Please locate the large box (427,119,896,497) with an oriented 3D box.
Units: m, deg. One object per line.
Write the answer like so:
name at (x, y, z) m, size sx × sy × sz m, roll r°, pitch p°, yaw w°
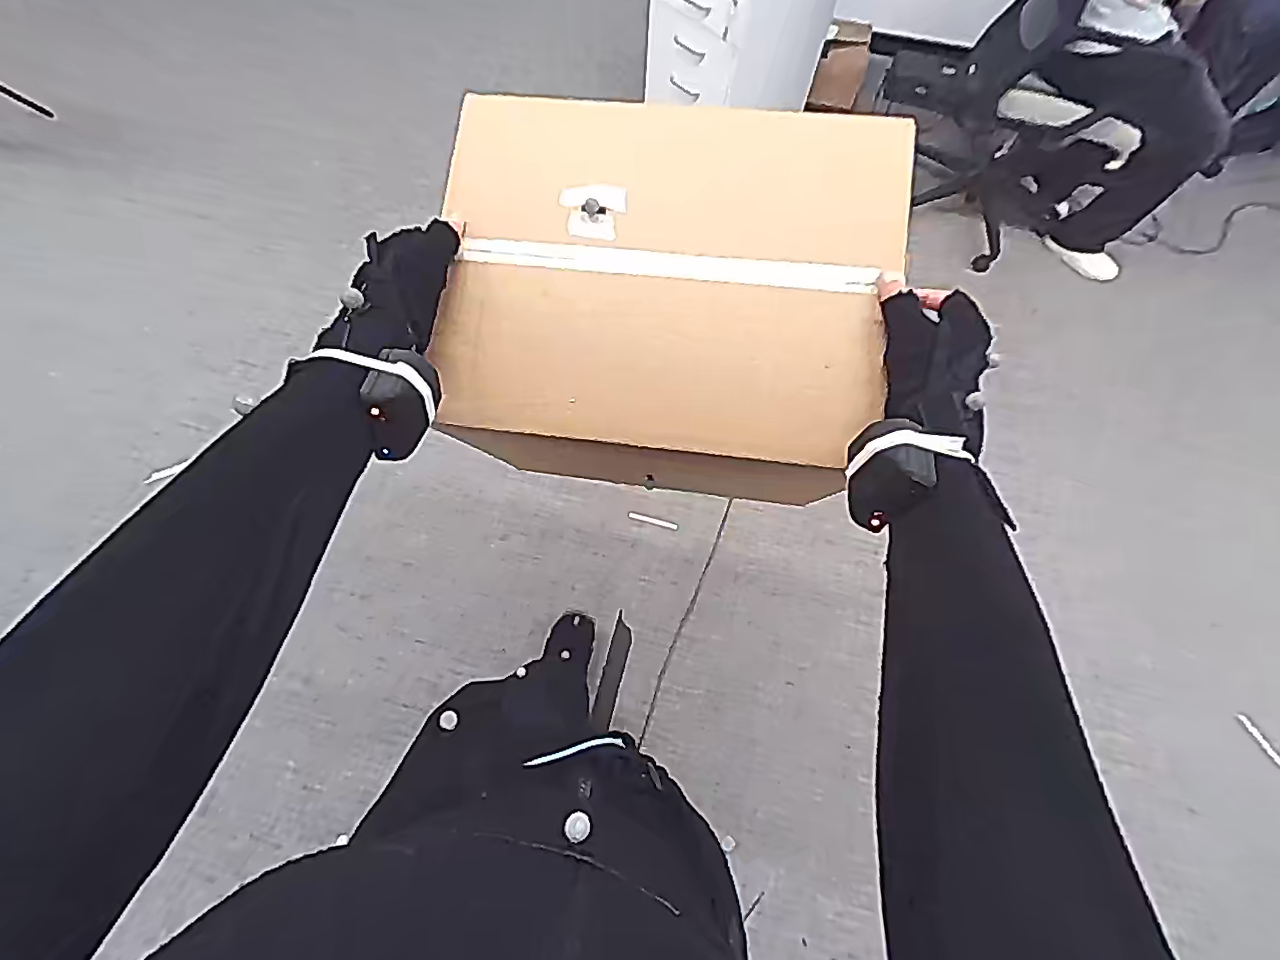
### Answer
large box at (0.034, -0.163, 0.636) m, size 0.408 × 0.320 × 0.320 m, roll 7°, pitch 82°, yaw 7°
